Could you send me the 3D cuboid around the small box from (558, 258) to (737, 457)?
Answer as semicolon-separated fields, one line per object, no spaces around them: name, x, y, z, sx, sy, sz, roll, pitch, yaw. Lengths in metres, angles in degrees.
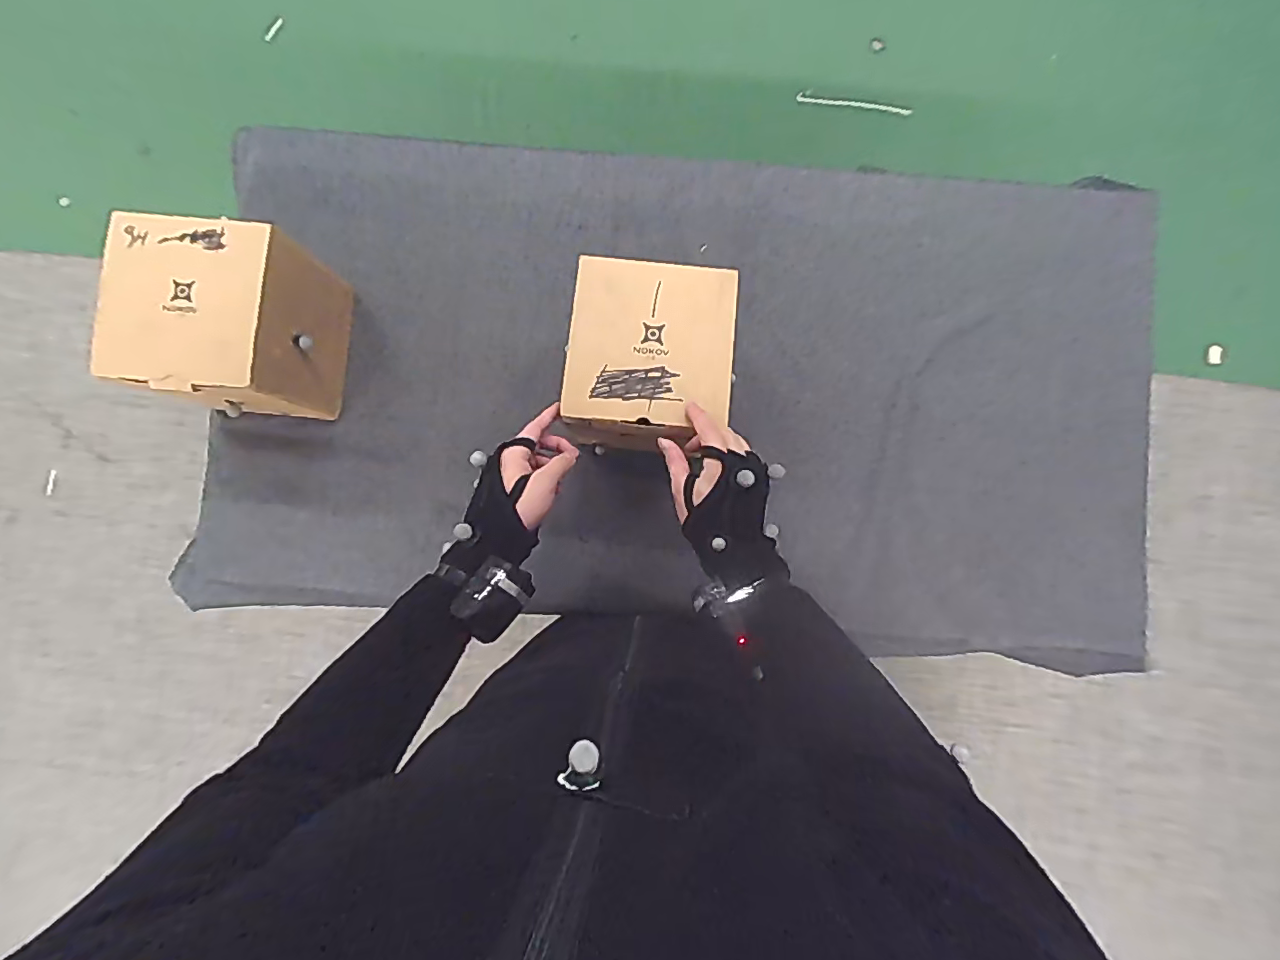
small box;0.010;-0.126;0.621;0.168;0.176;0.179;6;85;0

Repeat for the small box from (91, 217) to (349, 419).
small box;-0.463;-0.171;0.625;0.168;0.176;0.179;5;87;-1
